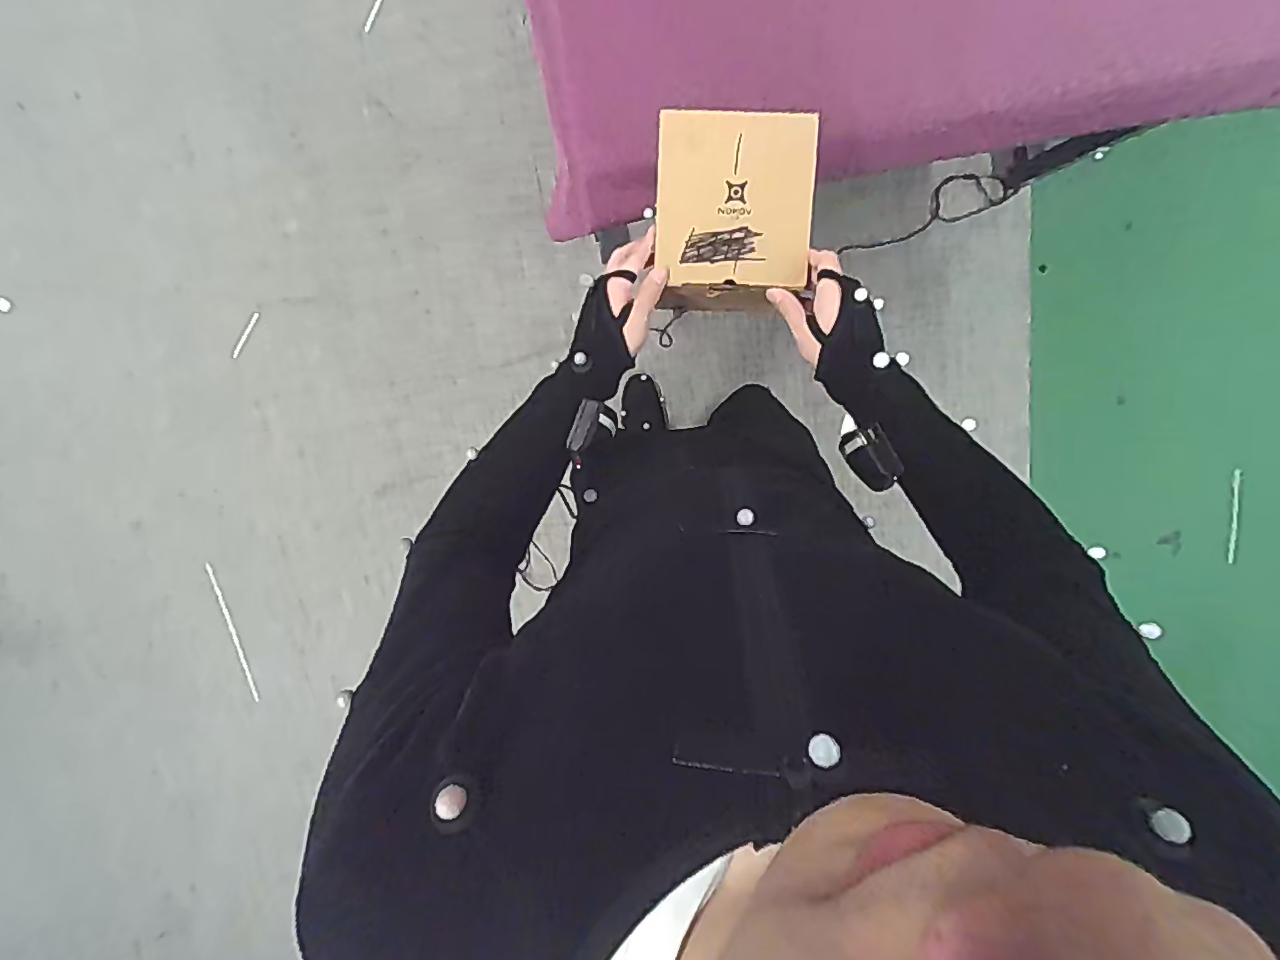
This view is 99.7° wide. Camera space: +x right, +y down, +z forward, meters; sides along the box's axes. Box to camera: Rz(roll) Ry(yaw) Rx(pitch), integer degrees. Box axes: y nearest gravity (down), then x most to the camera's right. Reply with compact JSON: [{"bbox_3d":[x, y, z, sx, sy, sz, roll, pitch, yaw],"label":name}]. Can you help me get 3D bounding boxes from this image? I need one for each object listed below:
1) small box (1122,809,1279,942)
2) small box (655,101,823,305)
[{"bbox_3d":[1.325,0.928,1.283,0.179,0.176,0.168,25,100,-7],"label":"small box"},{"bbox_3d":[0.104,-0.310,0.642,0.168,0.176,0.179,2,98,1],"label":"small box"}]
